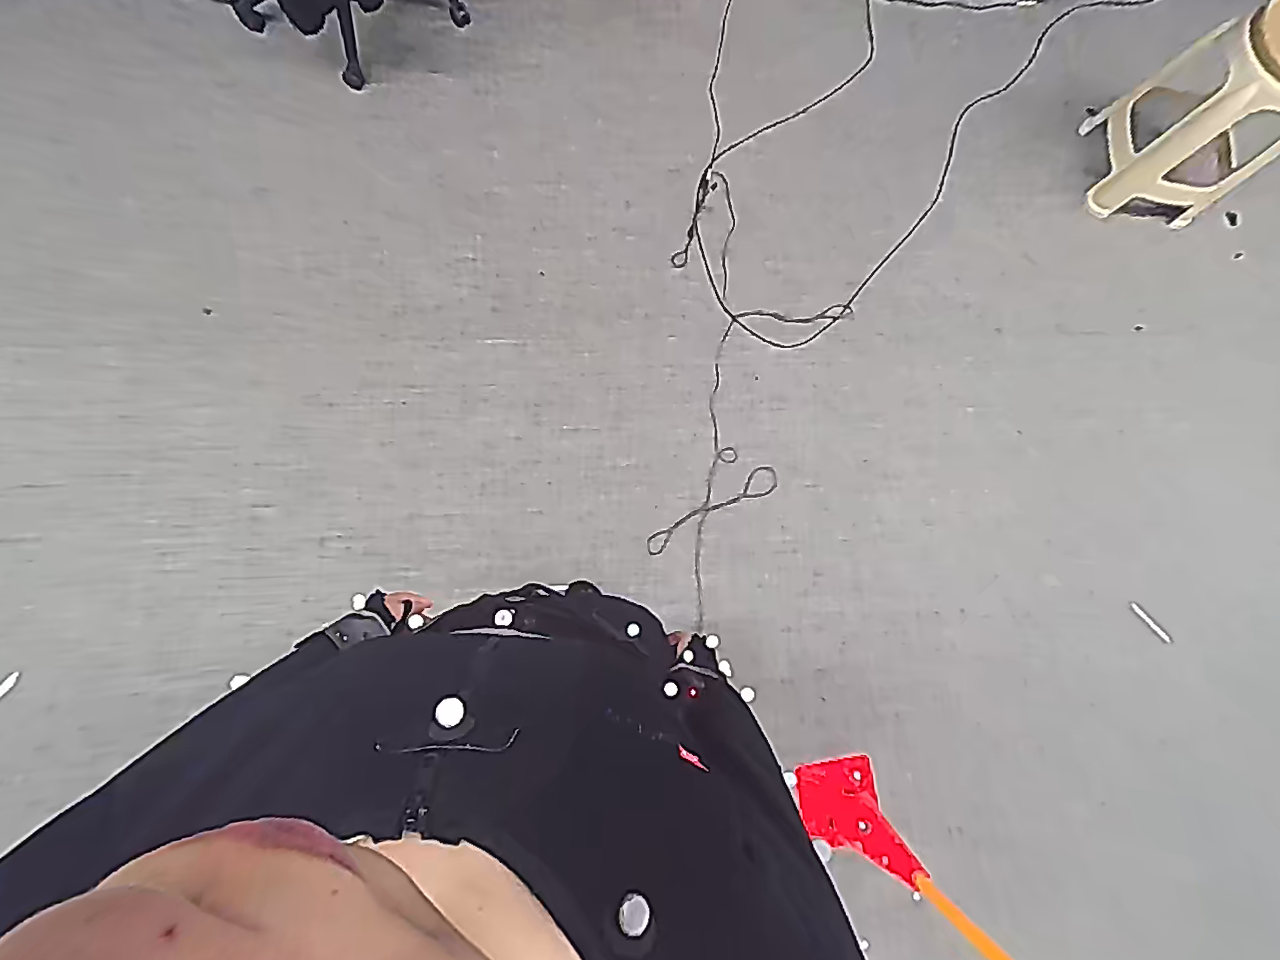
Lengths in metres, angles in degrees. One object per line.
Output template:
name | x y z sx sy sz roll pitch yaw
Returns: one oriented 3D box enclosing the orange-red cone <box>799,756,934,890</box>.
orange-red cone | 0.504 0.758 1.152 0.199 0.360 0.198 -7 80 -4
